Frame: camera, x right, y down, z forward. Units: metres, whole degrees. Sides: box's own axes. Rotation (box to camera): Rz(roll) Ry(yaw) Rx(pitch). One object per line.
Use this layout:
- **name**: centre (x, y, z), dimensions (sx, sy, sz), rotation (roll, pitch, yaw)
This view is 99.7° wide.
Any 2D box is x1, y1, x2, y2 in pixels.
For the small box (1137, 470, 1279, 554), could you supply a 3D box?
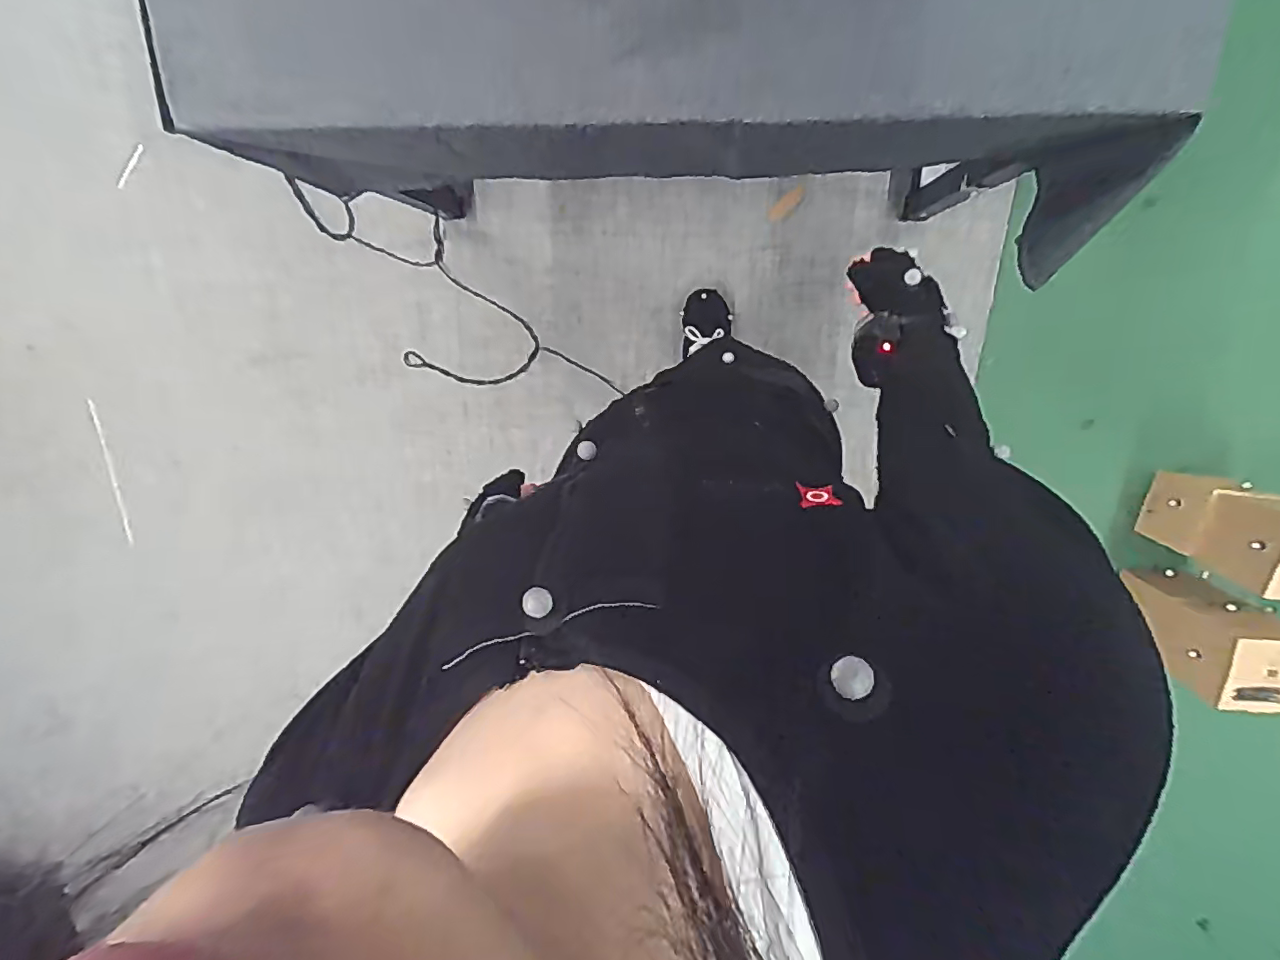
- **small box**: centre (1.349, 0.080, 1.280), dimensions (0.179, 0.176, 0.168), rotation (8, 107, 4)

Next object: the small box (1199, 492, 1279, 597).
- **small box**: centre (1.340, 0.135, 1.125), dimensions (0.168, 0.176, 0.179), rotation (7, 106, 5)
